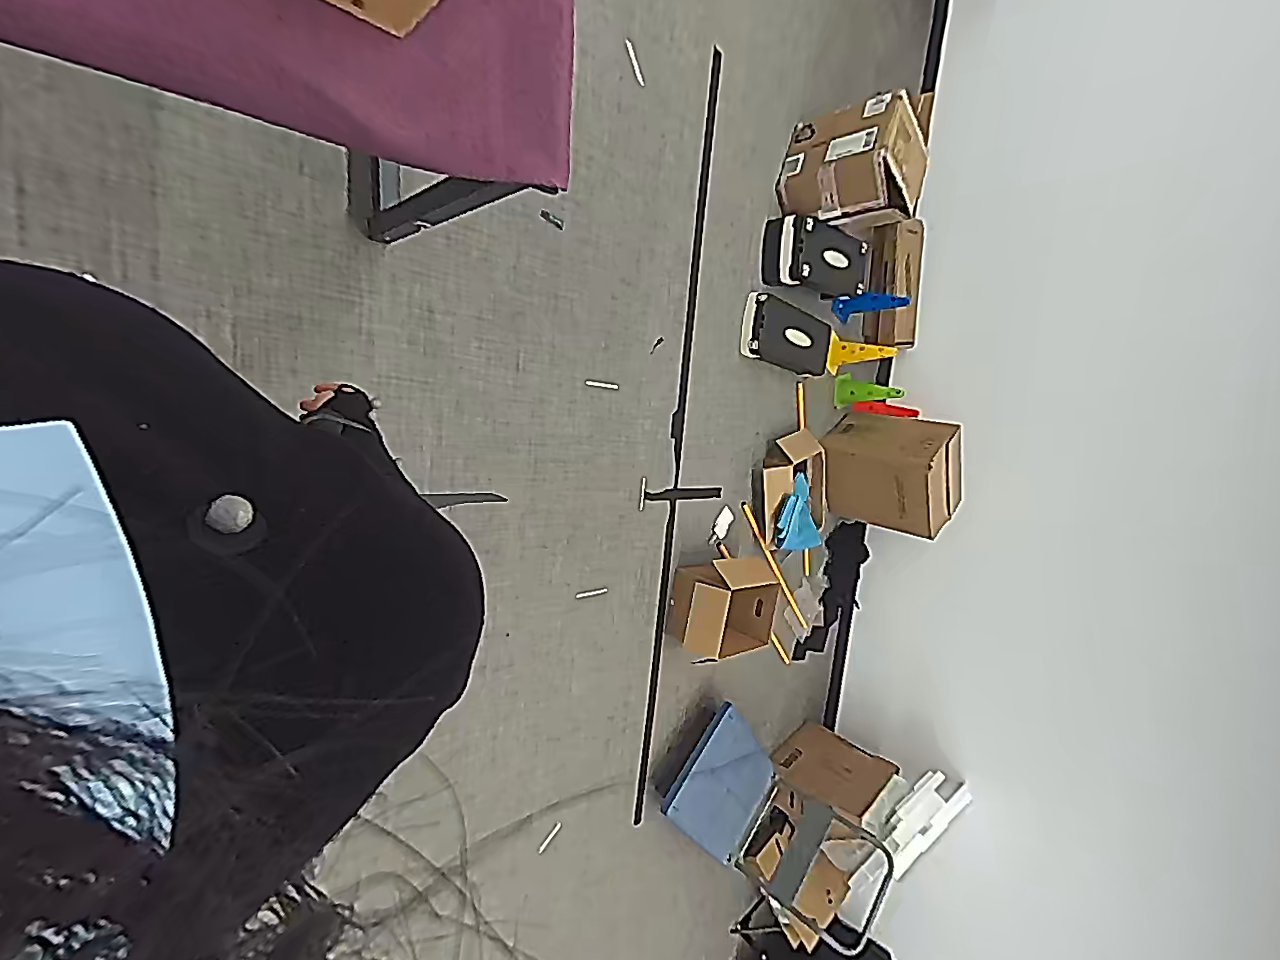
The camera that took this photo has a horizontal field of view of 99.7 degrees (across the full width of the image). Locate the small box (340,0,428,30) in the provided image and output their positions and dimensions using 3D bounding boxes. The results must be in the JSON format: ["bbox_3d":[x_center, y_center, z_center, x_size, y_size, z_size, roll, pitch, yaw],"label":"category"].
[{"bbox_3d":[-0.304,-0.640,0.576,0.168,0.176,0.179,-4,103,-45],"label":"small box"}]
